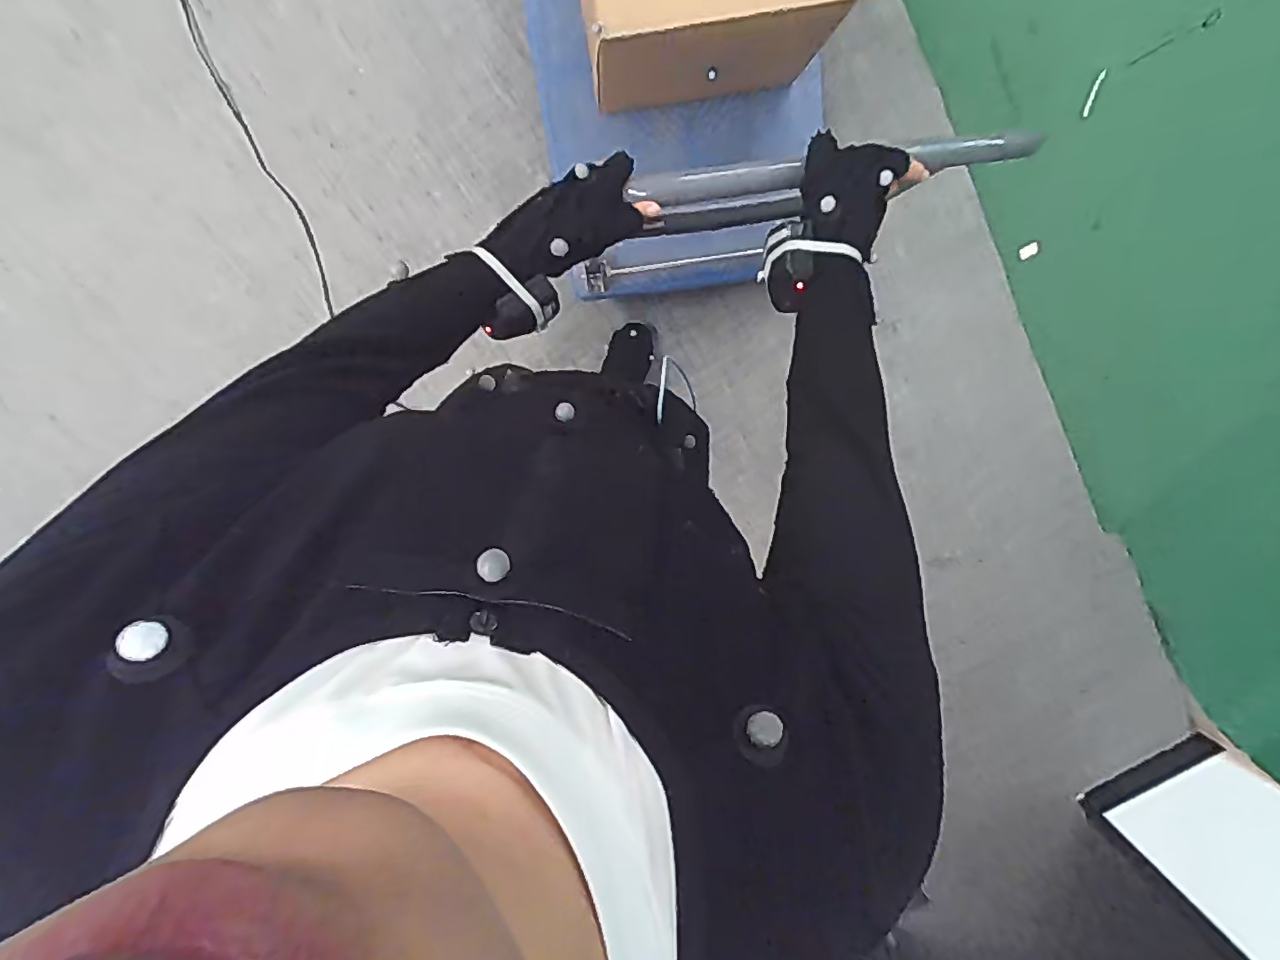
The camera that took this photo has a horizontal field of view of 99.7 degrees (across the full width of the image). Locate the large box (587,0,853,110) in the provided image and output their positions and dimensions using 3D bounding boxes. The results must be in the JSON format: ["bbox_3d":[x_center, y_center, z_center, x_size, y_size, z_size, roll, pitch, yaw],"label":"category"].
[{"bbox_3d":[0.108,-0.888,0.922,0.408,0.320,0.320,-10,107,0],"label":"large box"}]
